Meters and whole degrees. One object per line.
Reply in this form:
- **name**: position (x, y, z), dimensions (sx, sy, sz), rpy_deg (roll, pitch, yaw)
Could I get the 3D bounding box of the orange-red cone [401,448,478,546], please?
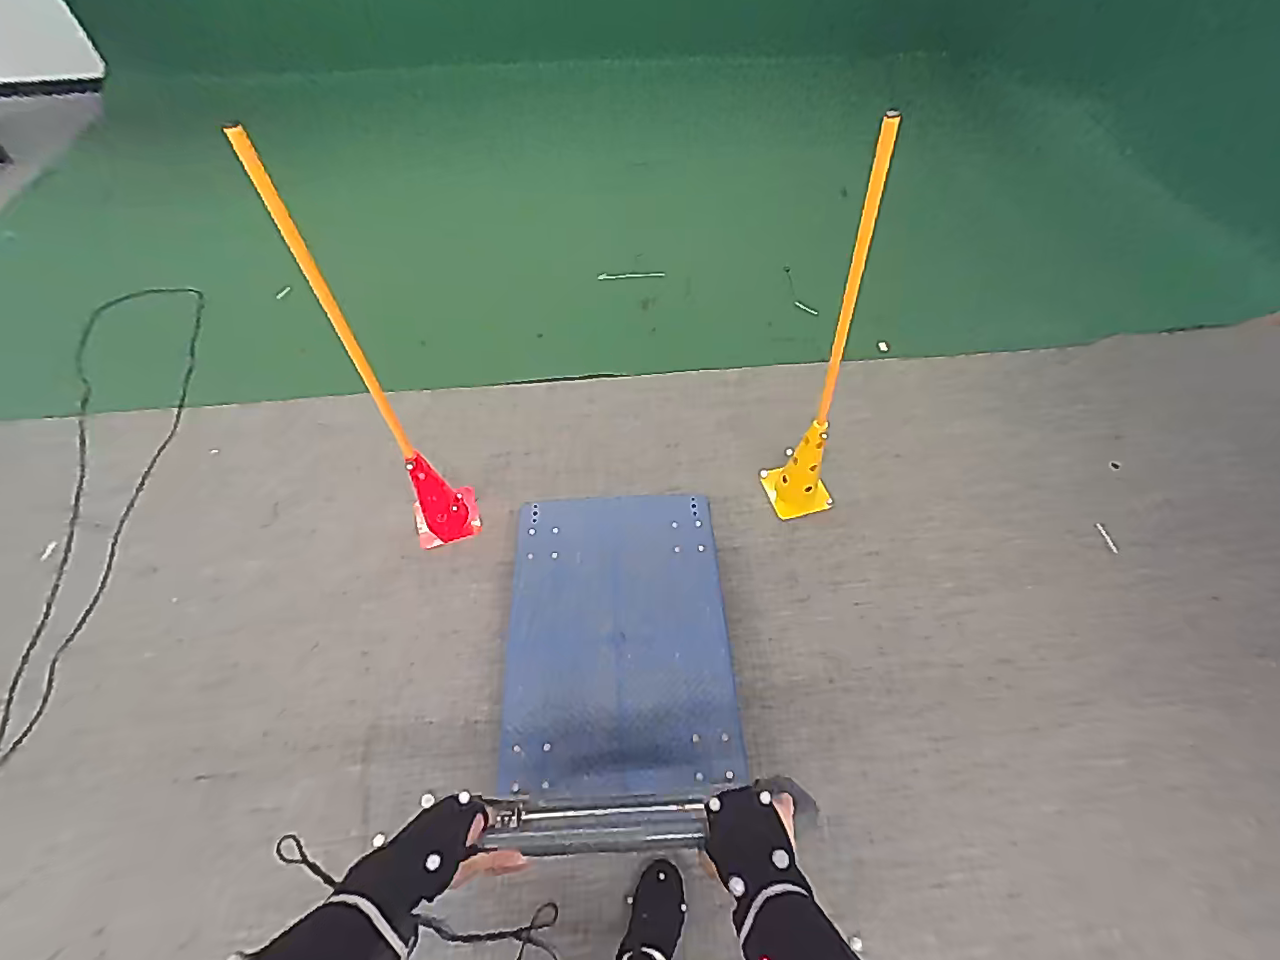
- **orange-red cone**: position (-0.653, 0.023, 1.664), dimensions (0.199, 0.360, 0.198), rpy_deg (-17, 57, -10)
